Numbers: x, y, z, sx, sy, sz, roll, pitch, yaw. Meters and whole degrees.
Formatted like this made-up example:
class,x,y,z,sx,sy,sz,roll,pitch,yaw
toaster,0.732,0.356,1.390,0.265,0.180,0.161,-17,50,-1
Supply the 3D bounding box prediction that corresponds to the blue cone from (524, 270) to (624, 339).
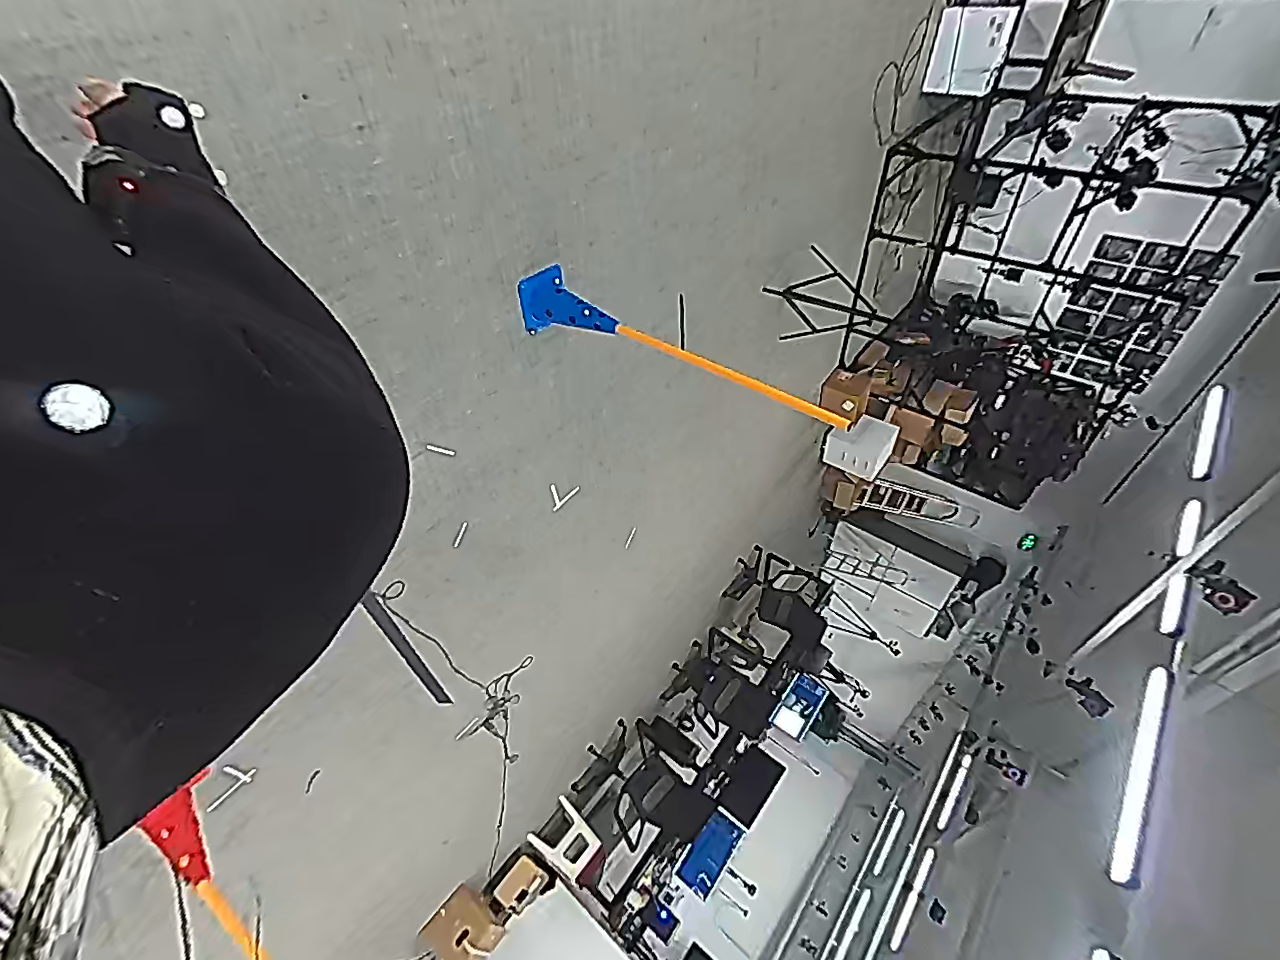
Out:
class,x,y,z,sx,sy,sz,roll,pitch,yaw
blue cone,-0.205,-0.562,1.834,0.193,0.380,0.192,-40,145,-34
